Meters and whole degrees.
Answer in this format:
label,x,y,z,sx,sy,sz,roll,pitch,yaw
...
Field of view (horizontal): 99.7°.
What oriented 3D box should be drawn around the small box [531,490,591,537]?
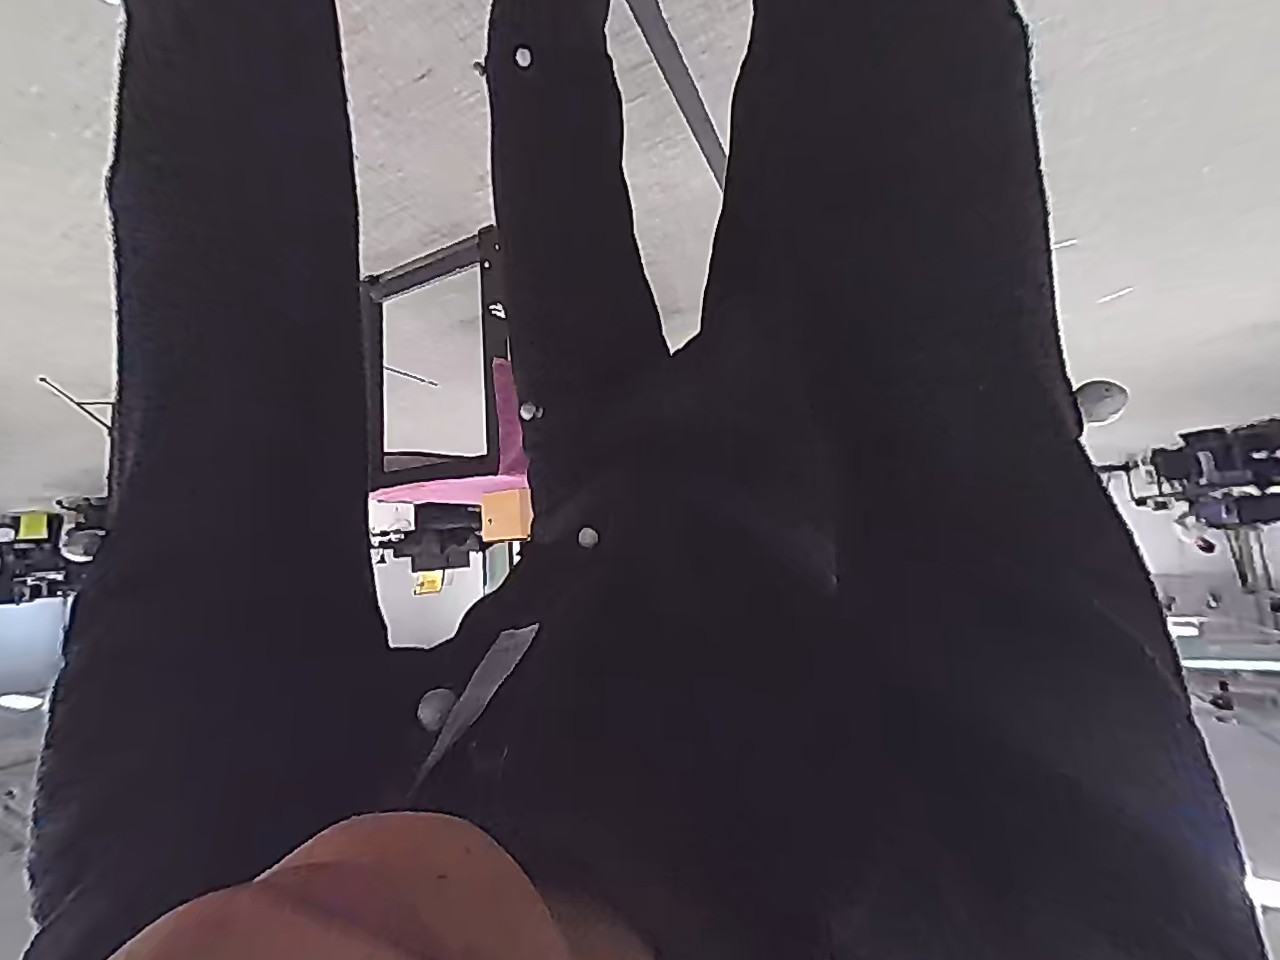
label,x,y,z,sx,sy,sz,roll,pitch,yaw
small box,-0.312,0.132,2.118,0.179,0.176,0.168,-7,172,28
